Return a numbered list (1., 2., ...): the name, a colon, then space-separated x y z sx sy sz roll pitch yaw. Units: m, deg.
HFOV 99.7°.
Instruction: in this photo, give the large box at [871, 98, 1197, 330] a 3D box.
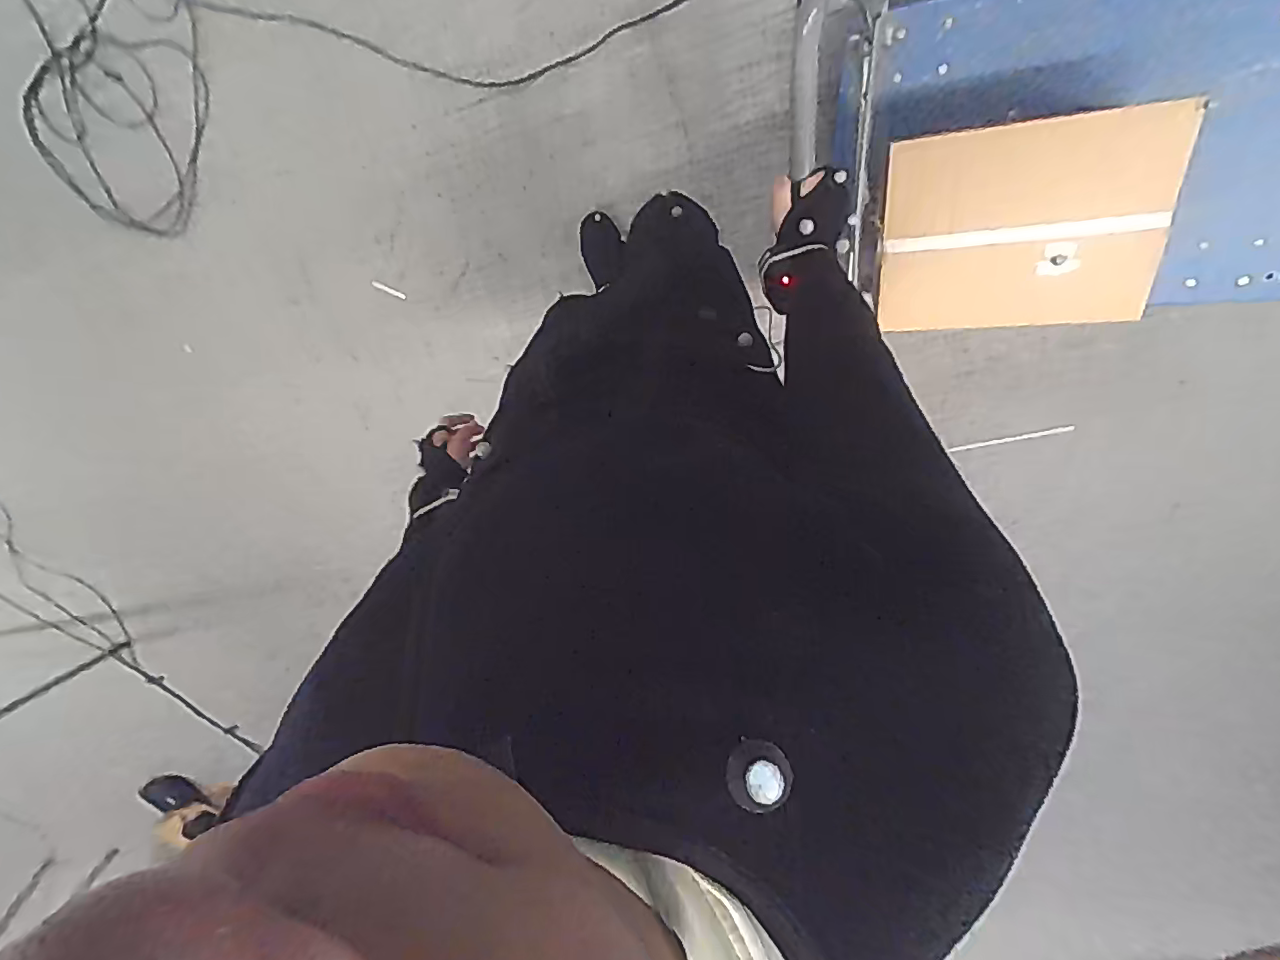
1. large box: 0.665 -0.487 1.021 0.408 0.320 0.320 3 122 19
